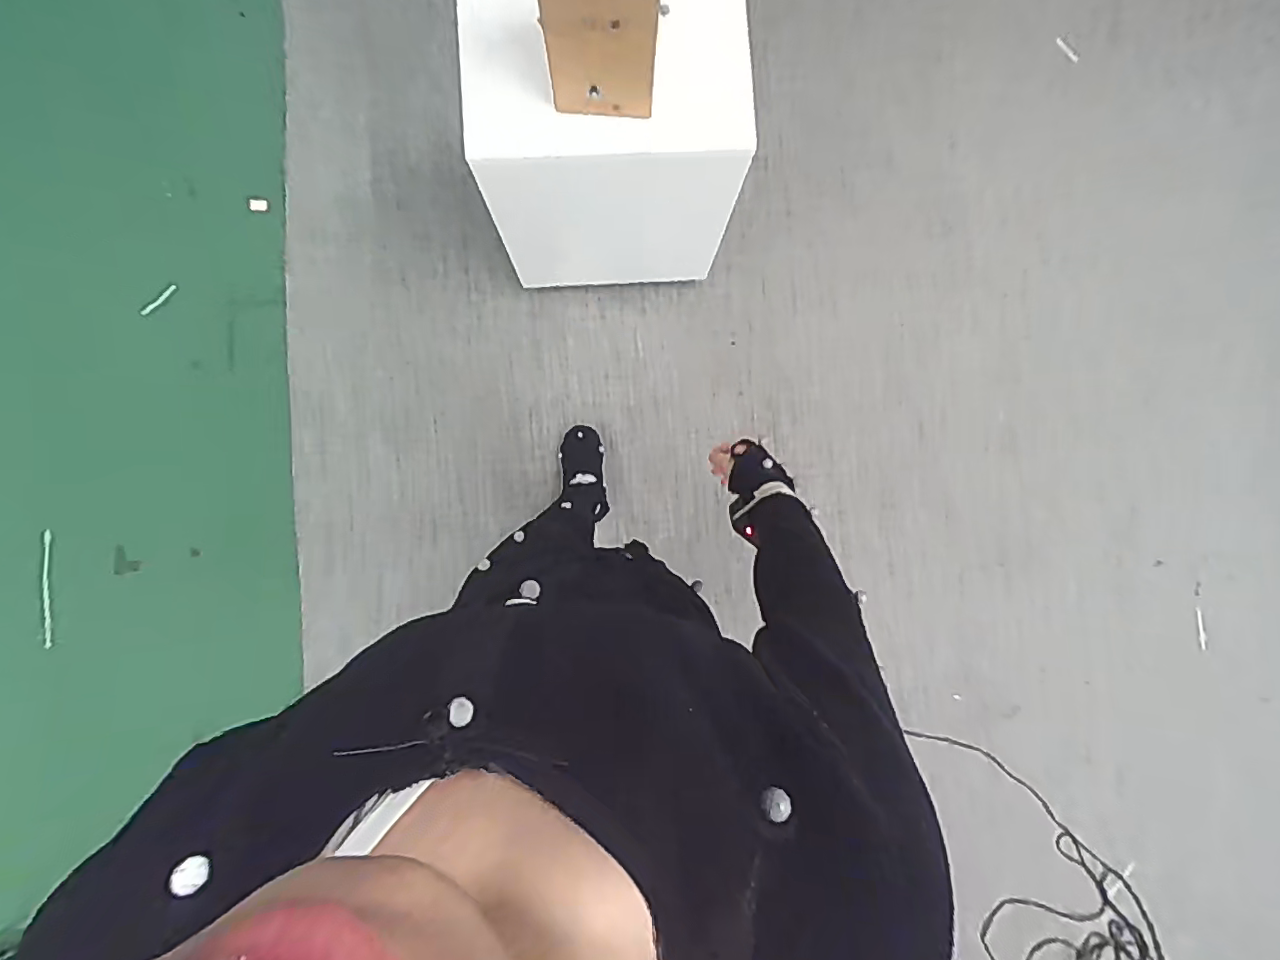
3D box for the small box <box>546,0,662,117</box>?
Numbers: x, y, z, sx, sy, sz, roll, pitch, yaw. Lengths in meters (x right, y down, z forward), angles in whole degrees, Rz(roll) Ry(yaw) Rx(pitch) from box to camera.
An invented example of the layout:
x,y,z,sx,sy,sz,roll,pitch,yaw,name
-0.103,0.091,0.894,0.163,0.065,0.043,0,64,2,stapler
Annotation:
x,y,z,sx,sy,sz,roll,pitch,yaw,name
-0.053,-0.720,0.851,0.168,0.176,0.179,2,87,-2,small box
